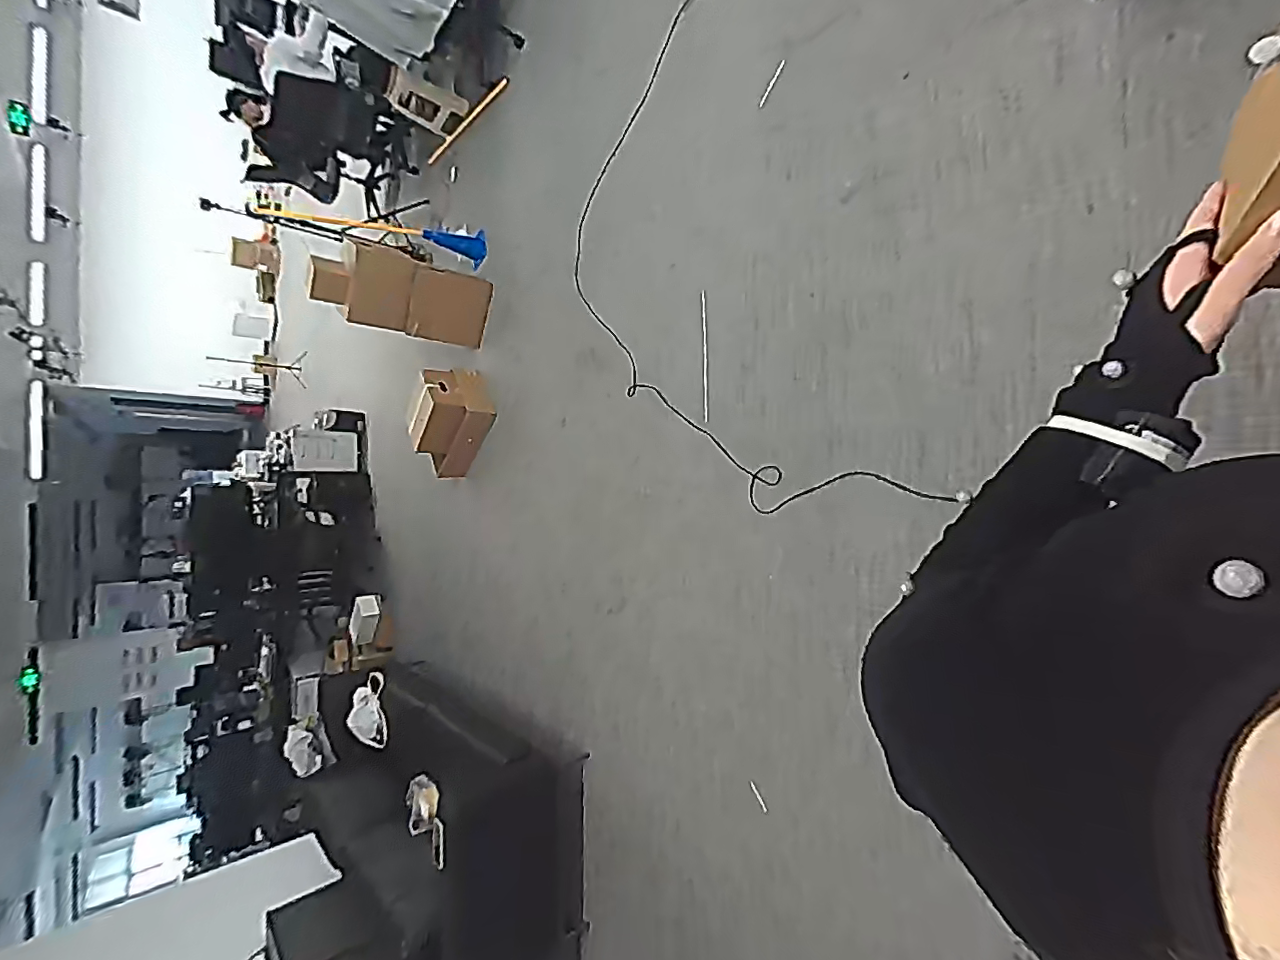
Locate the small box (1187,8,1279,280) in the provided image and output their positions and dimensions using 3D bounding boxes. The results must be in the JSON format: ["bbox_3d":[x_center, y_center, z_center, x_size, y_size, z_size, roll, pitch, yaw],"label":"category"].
[{"bbox_3d":[0.486,-0.238,0.316,0.179,0.168,0.176,18,74,31],"label":"small box"}]
